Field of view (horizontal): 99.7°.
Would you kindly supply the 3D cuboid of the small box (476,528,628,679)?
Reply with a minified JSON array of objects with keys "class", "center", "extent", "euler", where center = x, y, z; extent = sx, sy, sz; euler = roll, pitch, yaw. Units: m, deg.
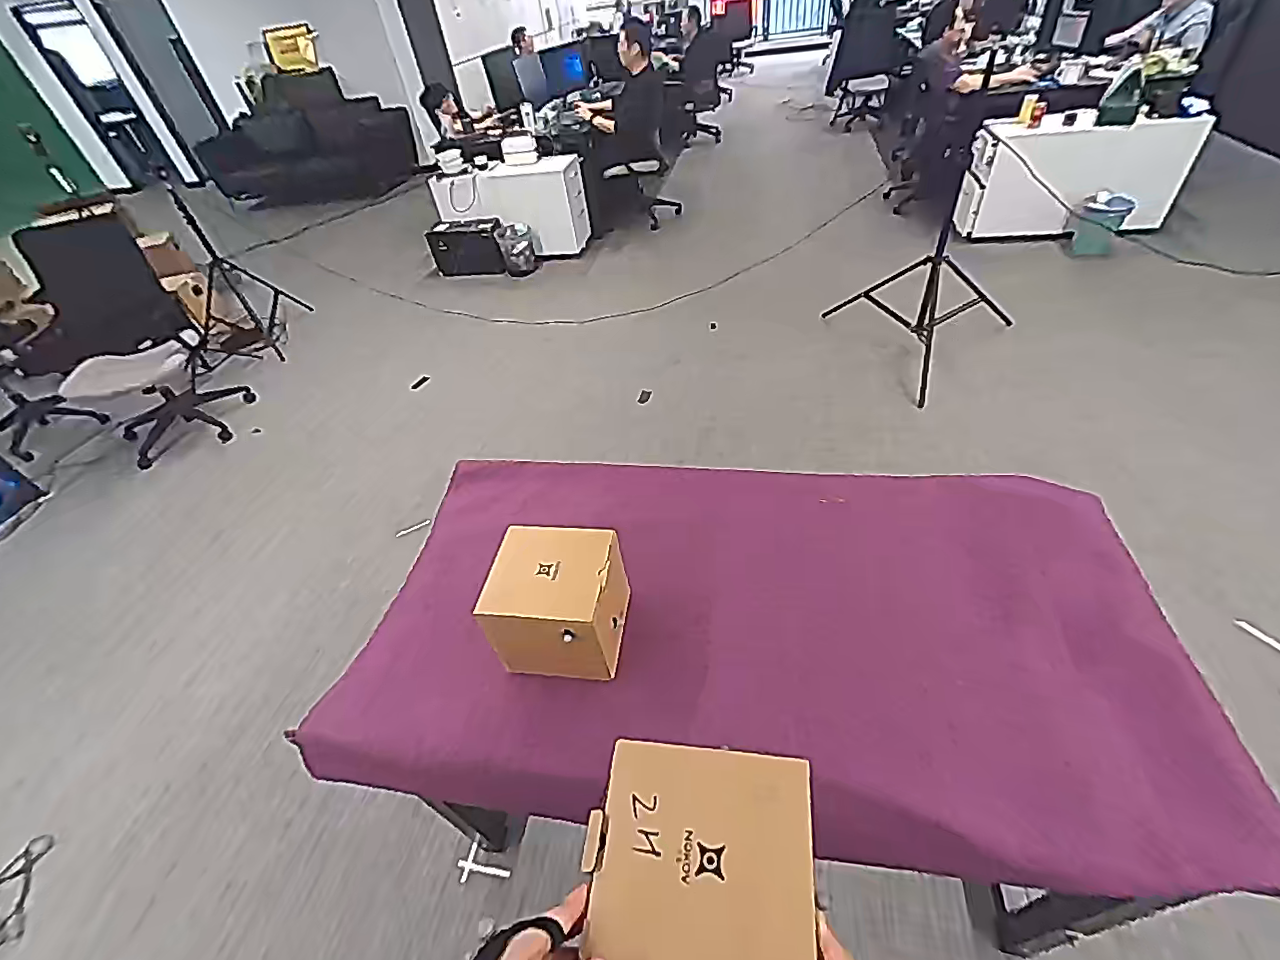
[{"class":"small box","center":[-0.123,0.192,0.843],"extent":[0.179,0.176,0.168],"euler":[1,43,10]}]

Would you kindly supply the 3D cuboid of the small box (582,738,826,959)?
[{"class":"small box","center":[0.068,0.354,0.487],"extent":[0.179,0.176,0.168],"euler":[-1,46,15]}]
